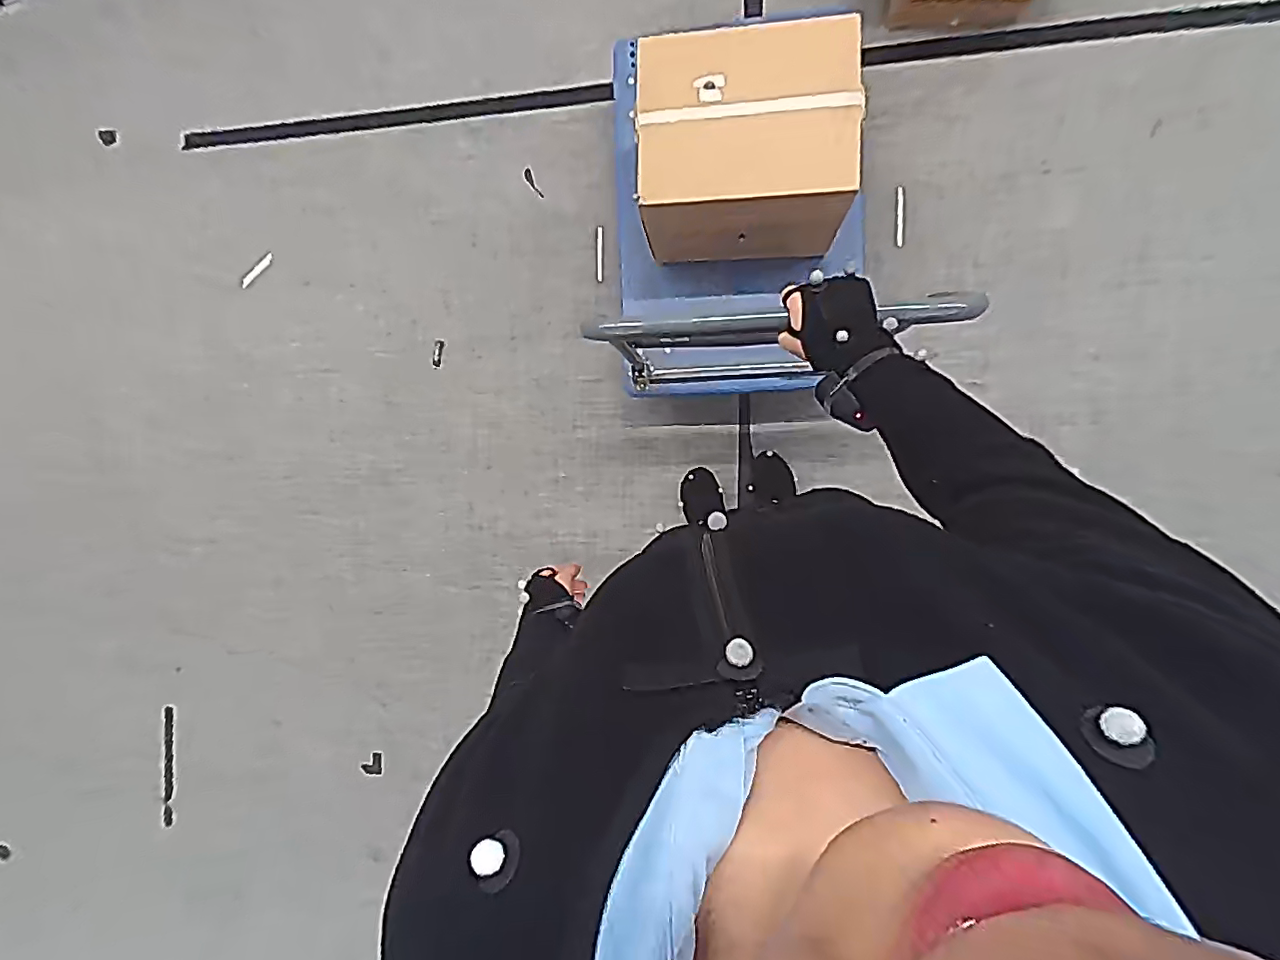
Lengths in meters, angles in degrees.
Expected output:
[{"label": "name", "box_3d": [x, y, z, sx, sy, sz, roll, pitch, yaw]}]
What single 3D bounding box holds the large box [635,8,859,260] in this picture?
[{"label": "large box", "box_3d": [0.213, -0.677, 1.127, 0.408, 0.320, 0.320, 0, 91, 9]}]
